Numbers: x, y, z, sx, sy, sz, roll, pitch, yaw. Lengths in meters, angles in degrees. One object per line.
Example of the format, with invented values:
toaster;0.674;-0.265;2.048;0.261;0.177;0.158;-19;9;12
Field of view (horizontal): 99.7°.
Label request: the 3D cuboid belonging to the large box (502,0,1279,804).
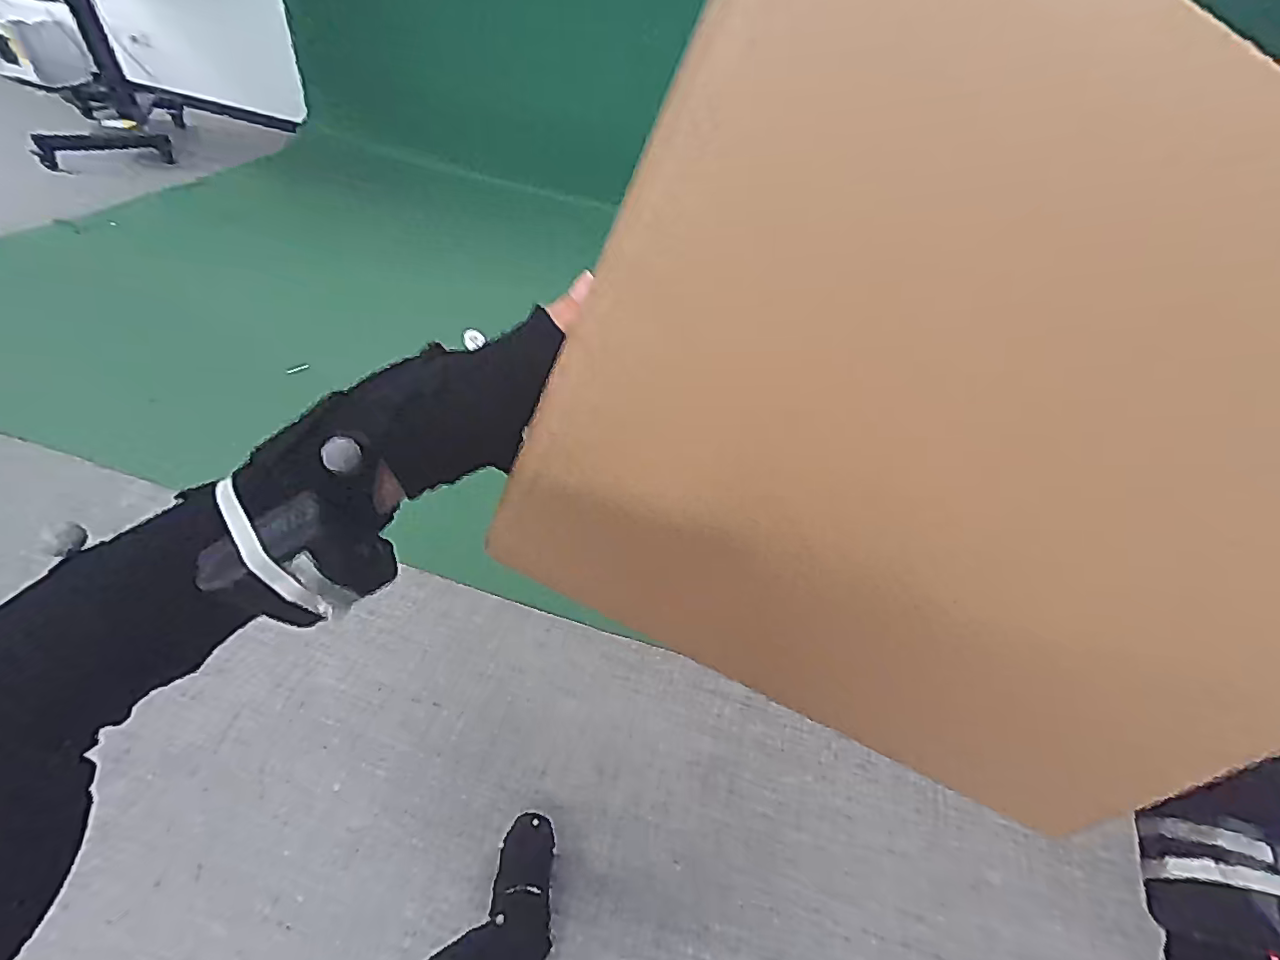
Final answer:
large box;0.180;-0.059;0.376;0.408;0.320;0.320;29;34;-6
